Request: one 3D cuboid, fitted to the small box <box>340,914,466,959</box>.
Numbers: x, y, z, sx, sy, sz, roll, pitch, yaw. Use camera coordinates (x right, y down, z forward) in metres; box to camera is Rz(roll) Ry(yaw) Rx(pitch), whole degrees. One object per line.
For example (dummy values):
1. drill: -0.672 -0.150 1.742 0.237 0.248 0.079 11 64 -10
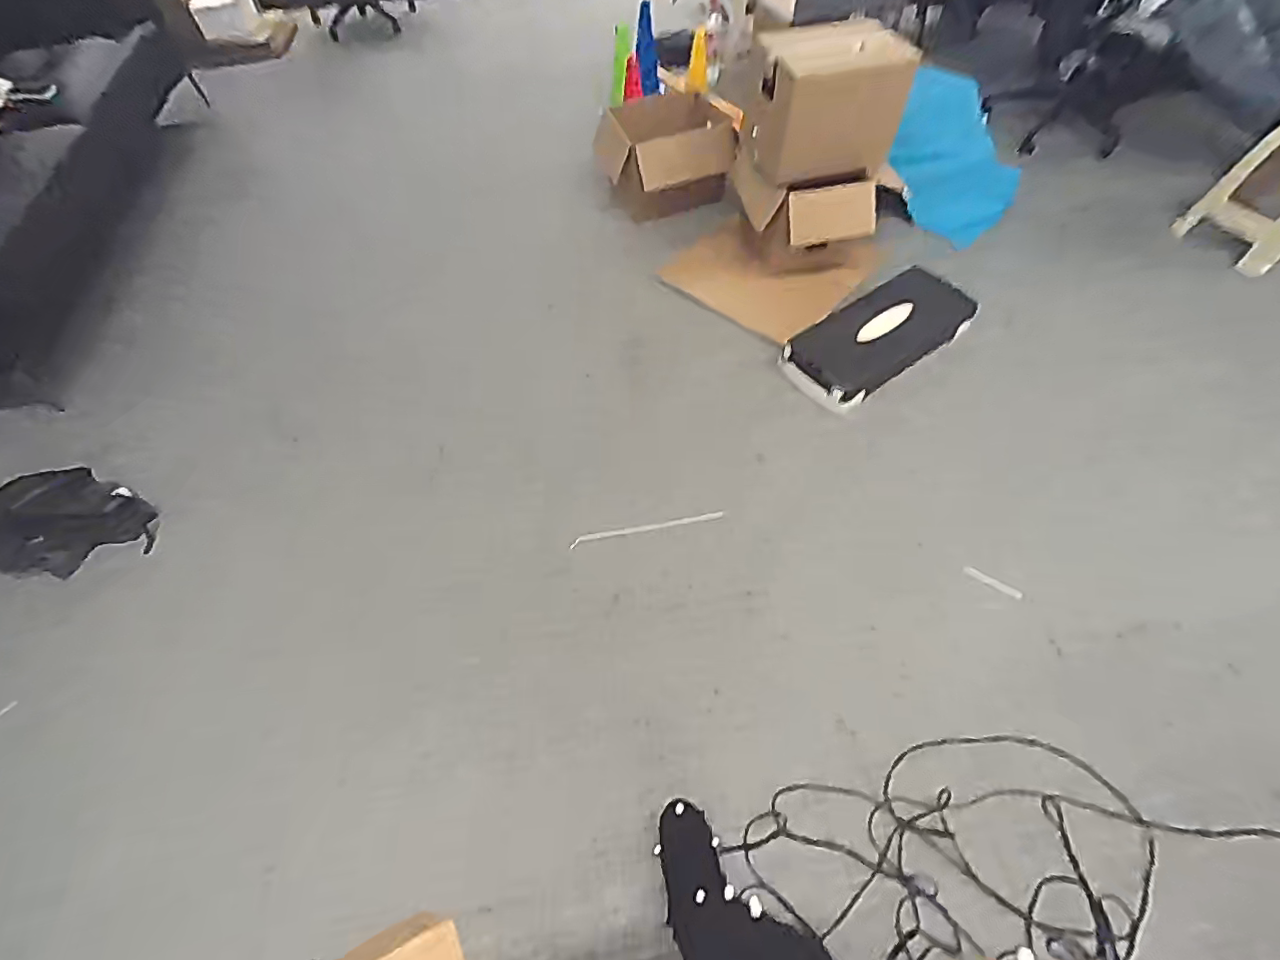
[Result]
1. small box: -0.266 0.578 0.545 0.176 0.179 0.168 -7 62 -37
